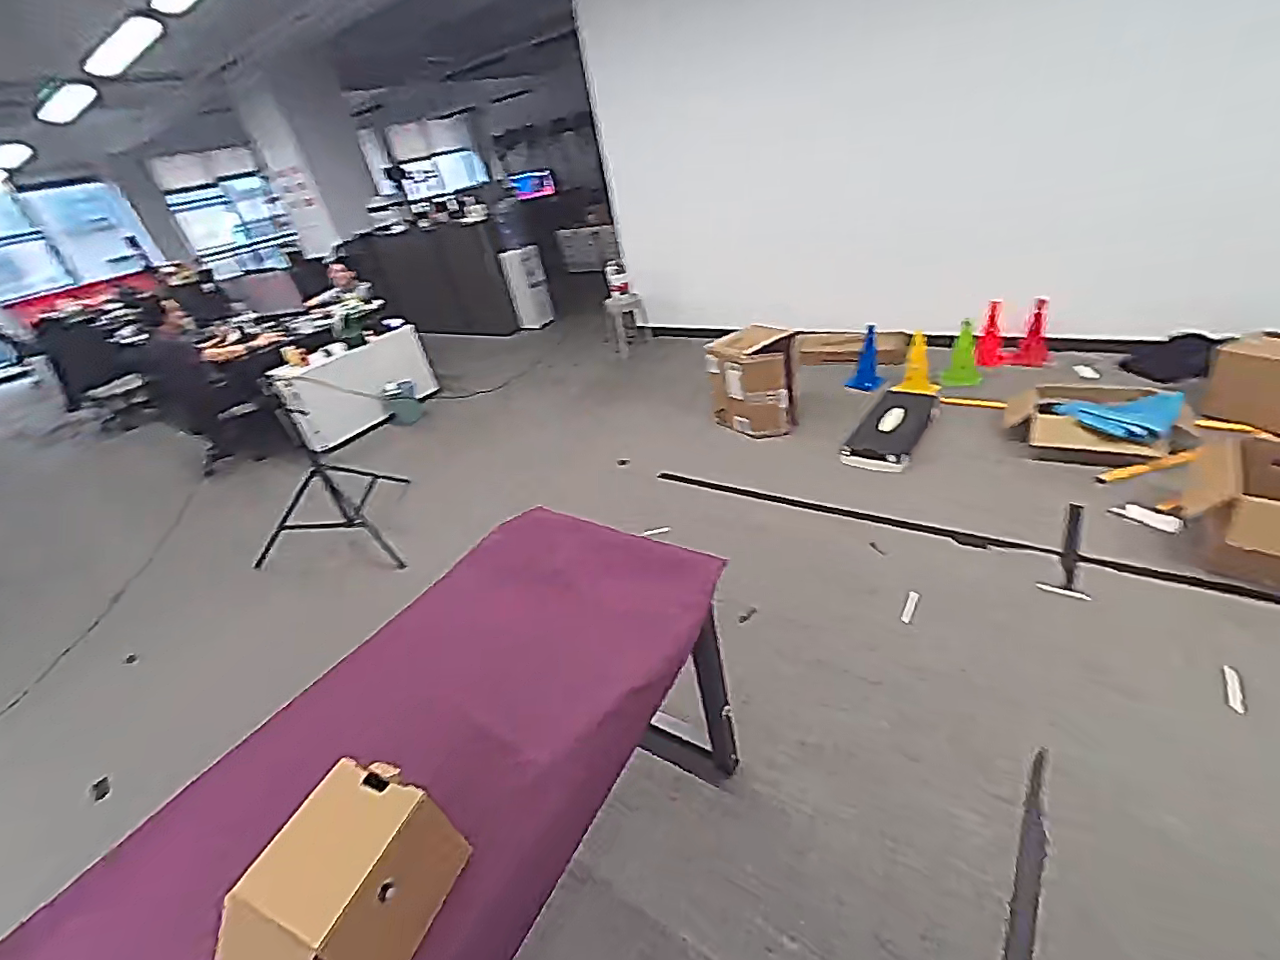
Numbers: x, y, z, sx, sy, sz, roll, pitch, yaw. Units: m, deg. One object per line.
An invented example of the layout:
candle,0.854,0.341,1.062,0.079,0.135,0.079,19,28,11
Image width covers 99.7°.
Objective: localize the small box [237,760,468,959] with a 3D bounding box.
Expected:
small box,-0.361,0.517,0.712,0.168,0.176,0.179,4,36,27
